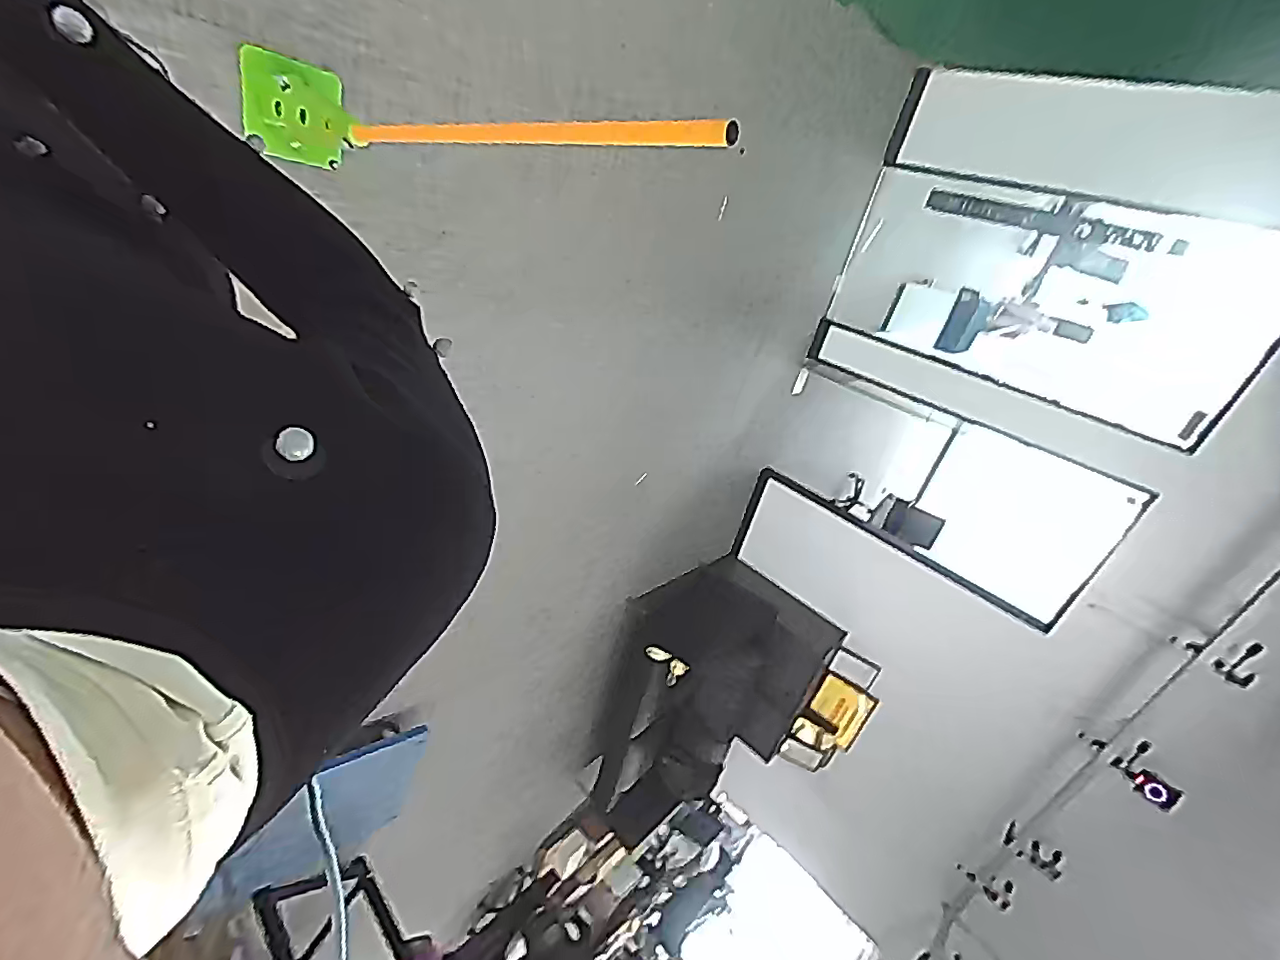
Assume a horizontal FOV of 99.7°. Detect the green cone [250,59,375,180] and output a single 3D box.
[{"bbox_3d":[-0.645,-0.733,1.135,0.202,0.368,0.200,-14,128,-45],"label":"green cone"}]
